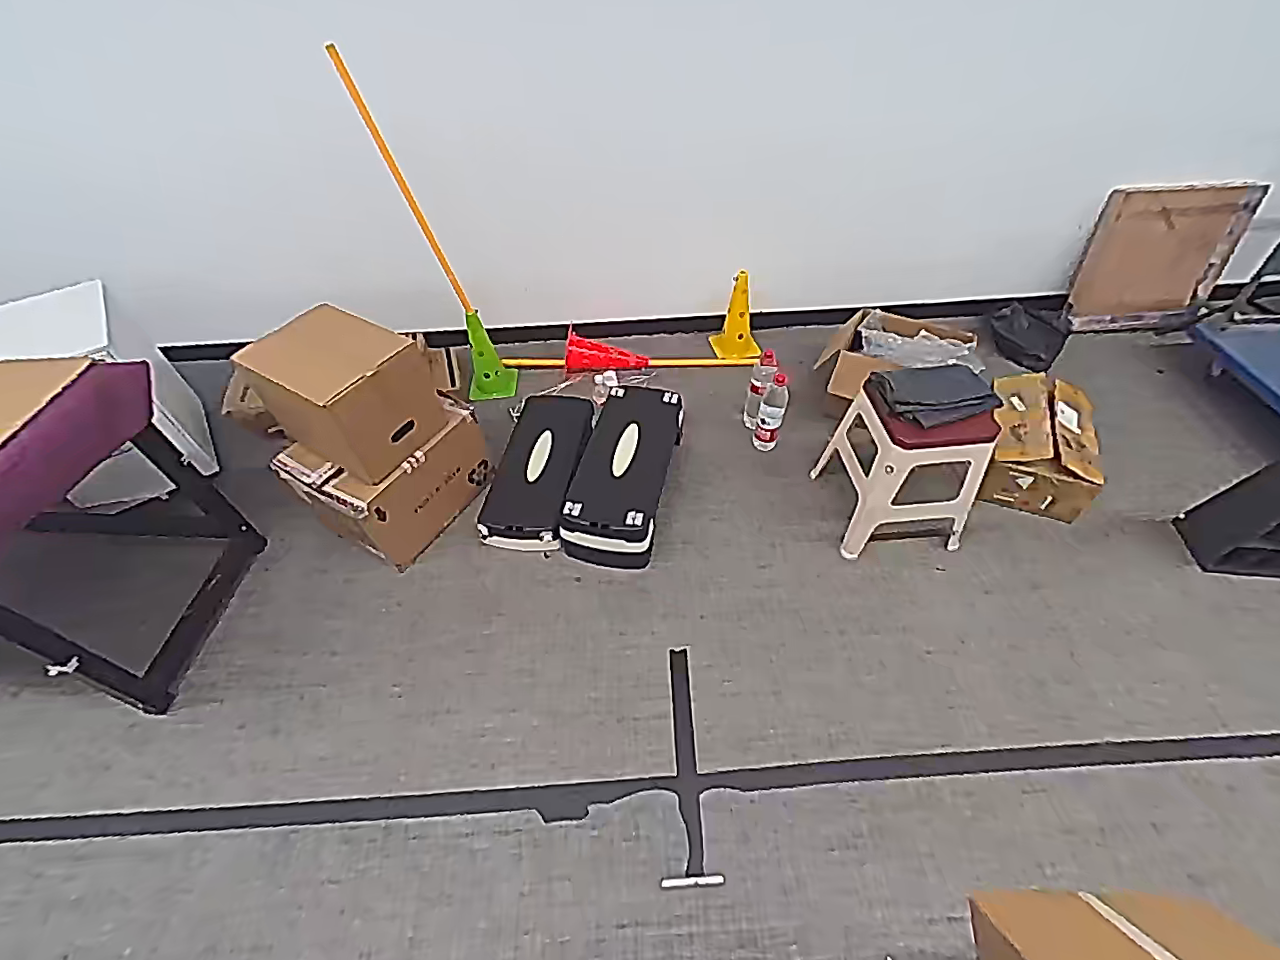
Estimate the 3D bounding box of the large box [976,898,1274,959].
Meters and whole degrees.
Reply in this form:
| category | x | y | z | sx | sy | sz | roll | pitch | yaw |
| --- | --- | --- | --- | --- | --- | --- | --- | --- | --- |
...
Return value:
| category | x | y | z | sx | sy | sz | roll | pitch | yaw |
| --- | --- | --- | --- | --- | --- | --- | --- | --- | --- |
| large box | 0.620 | 0.721 | 0.555 | 0.320 | 0.408 | 0.320 | -2 | 79 | 6 |
